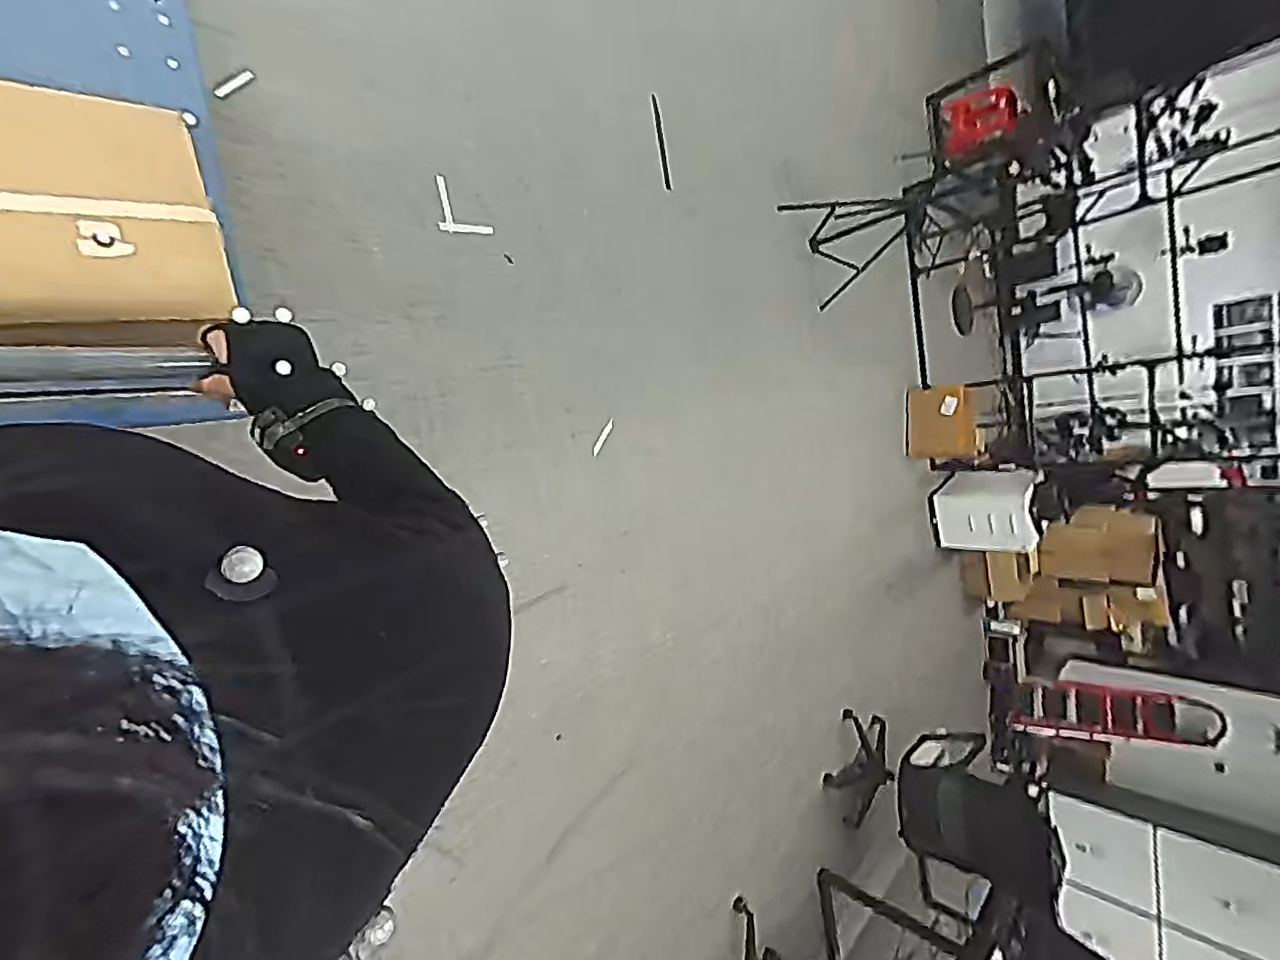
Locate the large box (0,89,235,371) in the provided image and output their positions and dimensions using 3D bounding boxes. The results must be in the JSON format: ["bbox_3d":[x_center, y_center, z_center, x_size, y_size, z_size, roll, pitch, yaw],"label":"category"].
[{"bbox_3d":[-0.921,-0.354,0.823,0.408,0.320,0.320,-18,101,-43],"label":"large box"}]
